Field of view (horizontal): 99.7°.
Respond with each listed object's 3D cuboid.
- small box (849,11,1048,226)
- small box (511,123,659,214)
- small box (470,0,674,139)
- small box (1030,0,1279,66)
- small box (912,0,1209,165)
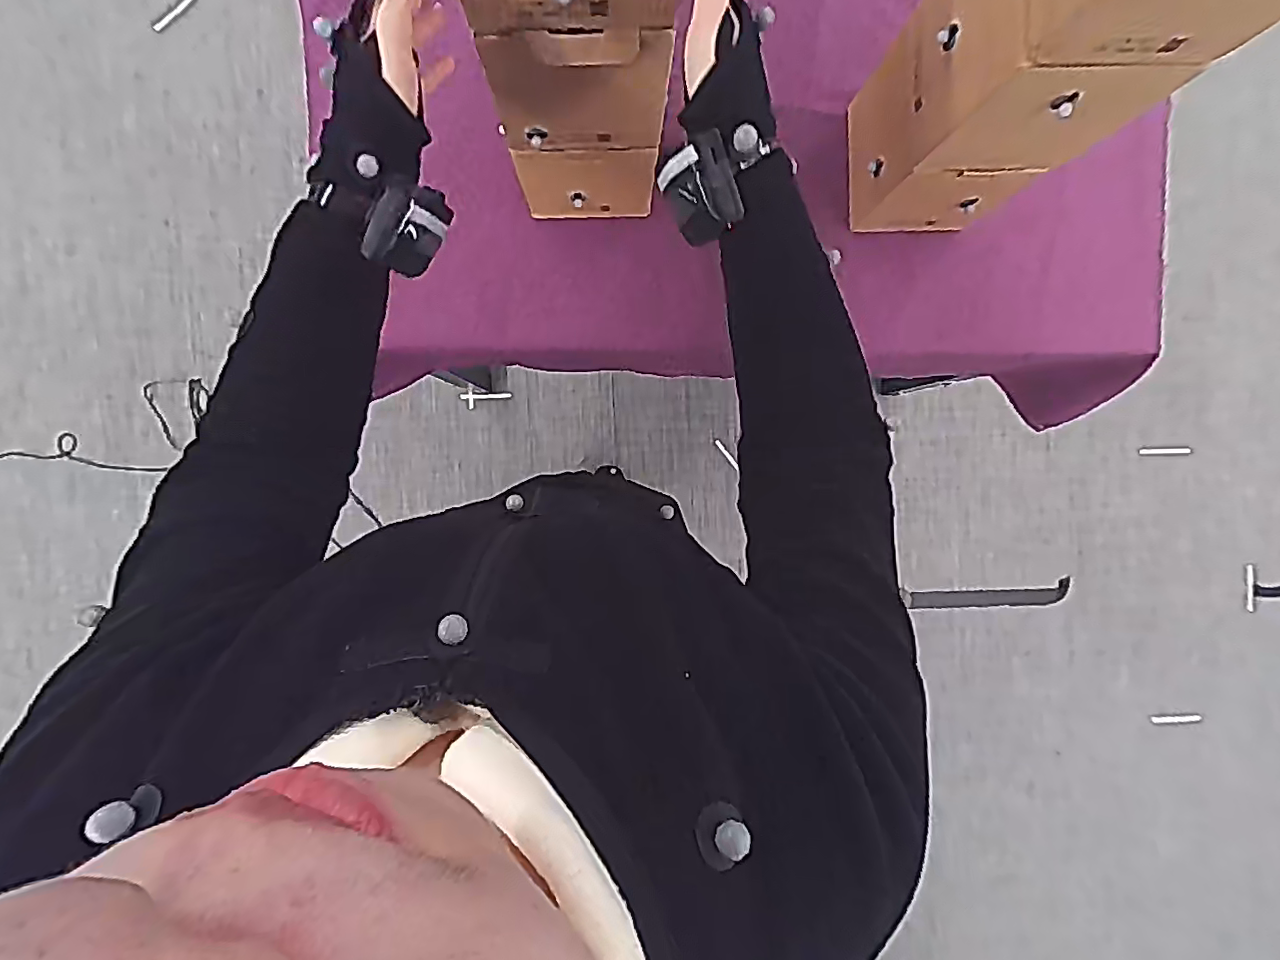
[{"bbox_3d":[0.382,-0.443,0.692,0.168,0.176,0.179,-2,93,-3],"label":"small box"},{"bbox_3d":[-0.067,-0.456,0.671,0.168,0.176,0.179,-2,94,-3],"label":"small box"},{"bbox_3d":[-0.060,-0.449,0.507,0.168,0.176,0.179,-4,93,-3],"label":"small box"},{"bbox_3d":[0.402,-0.430,0.364,0.168,0.176,0.179,-2,93,-3],"label":"small box"},{"bbox_3d":[0.389,-0.432,0.528,0.179,0.176,0.168,-3,94,-3],"label":"small box"}]
